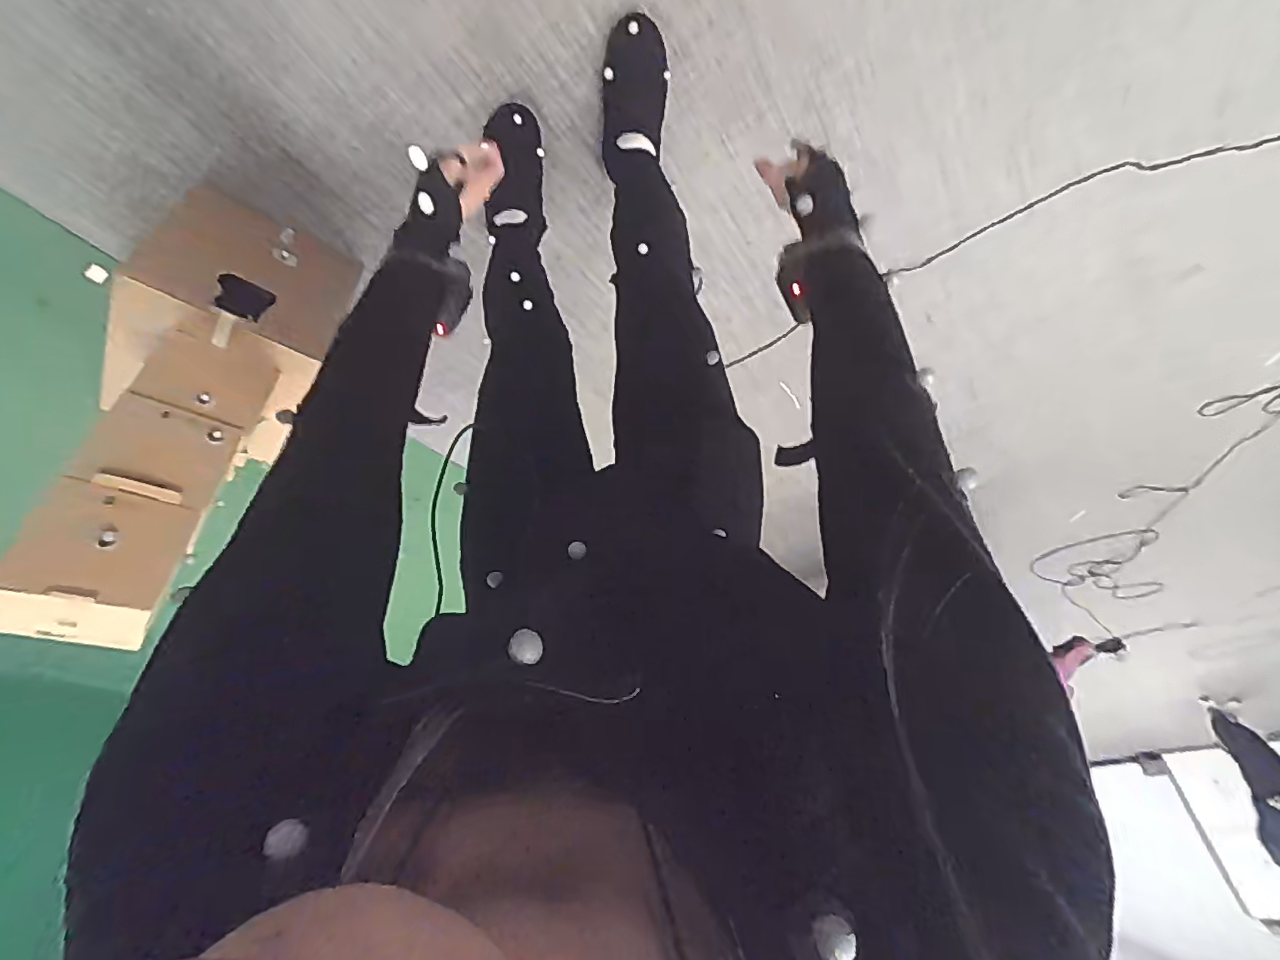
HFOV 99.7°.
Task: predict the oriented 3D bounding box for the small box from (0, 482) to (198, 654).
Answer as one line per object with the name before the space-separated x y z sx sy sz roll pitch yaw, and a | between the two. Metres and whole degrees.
small box | -0.781 0.129 0.783 0.168 0.176 0.179 26 133 -33

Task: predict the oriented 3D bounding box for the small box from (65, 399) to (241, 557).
small box | -0.786 -0.002 0.882 0.168 0.176 0.179 25 135 -32

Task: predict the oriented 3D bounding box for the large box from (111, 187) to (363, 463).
large box | -0.843 -0.307 1.151 0.320 0.320 0.408 26 135 -32

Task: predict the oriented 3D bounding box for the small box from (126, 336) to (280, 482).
small box | -0.794 -0.129 0.985 0.179 0.176 0.168 26 133 -33
